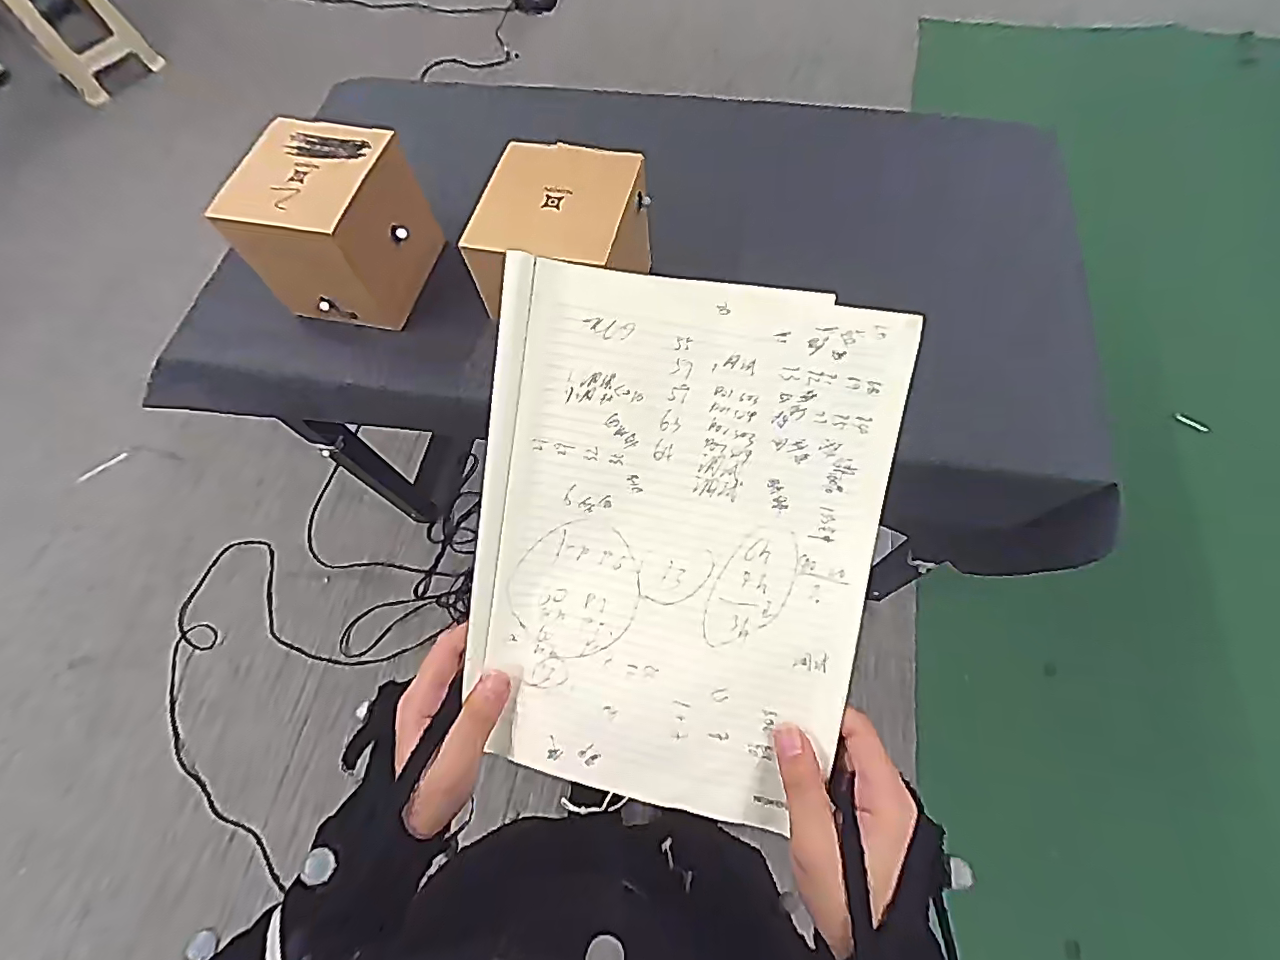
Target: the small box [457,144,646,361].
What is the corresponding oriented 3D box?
[{"bbox_3d":[-0.090,-0.270,0.661,0.168,0.176,0.179,10,66,9],"label":"small box"}]
